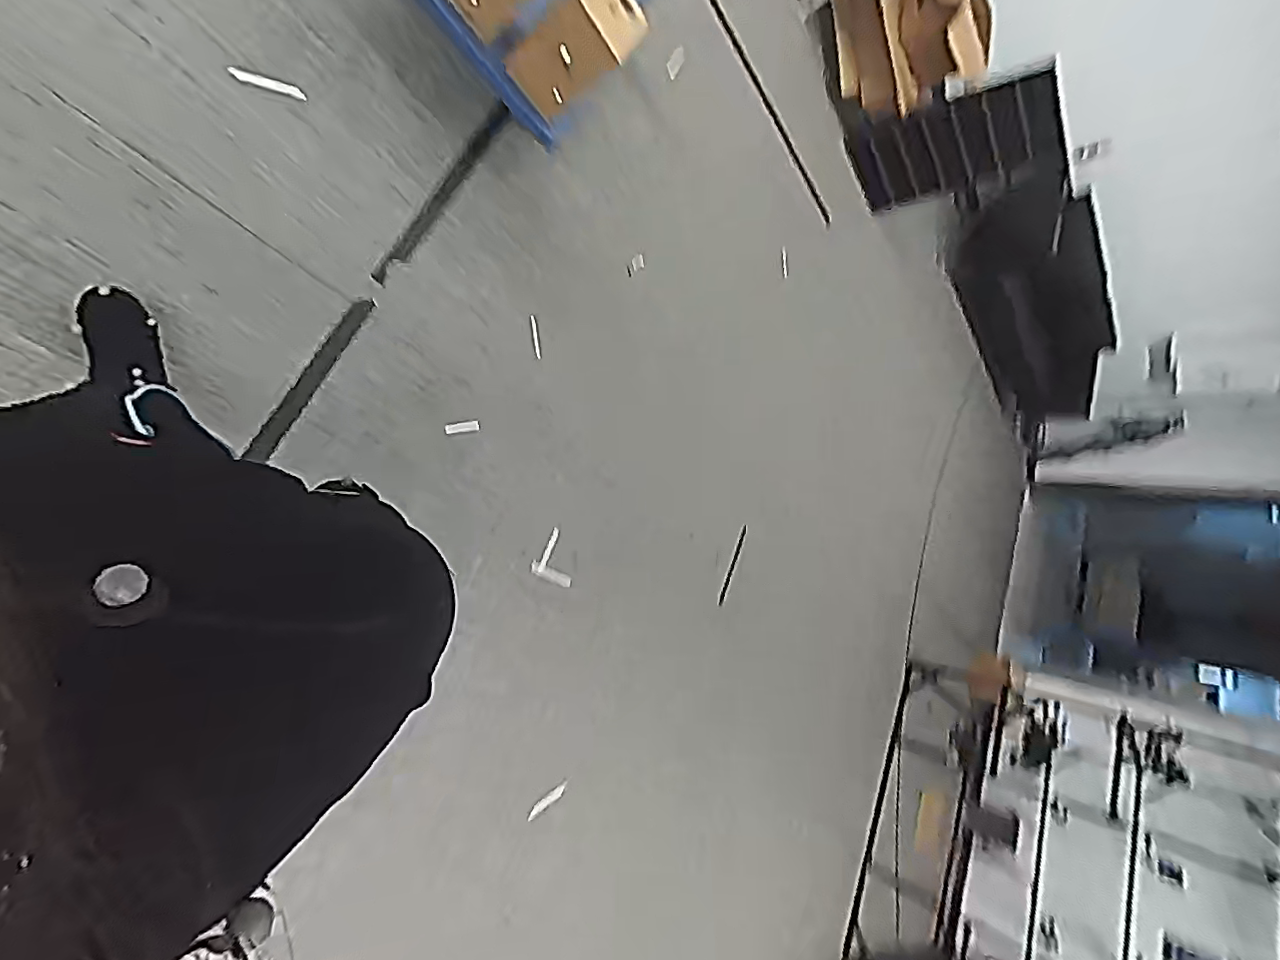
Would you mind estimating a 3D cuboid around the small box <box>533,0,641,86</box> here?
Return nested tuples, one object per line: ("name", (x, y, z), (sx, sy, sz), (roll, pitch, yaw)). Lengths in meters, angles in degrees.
("small box", (-0.134, -1.134, 1.335), (0.168, 0.176, 0.179), (40, 66, -38))

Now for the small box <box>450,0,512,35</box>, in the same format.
("small box", (-0.382, -1.252, 1.319), (0.168, 0.176, 0.179), (36, 67, -40))
